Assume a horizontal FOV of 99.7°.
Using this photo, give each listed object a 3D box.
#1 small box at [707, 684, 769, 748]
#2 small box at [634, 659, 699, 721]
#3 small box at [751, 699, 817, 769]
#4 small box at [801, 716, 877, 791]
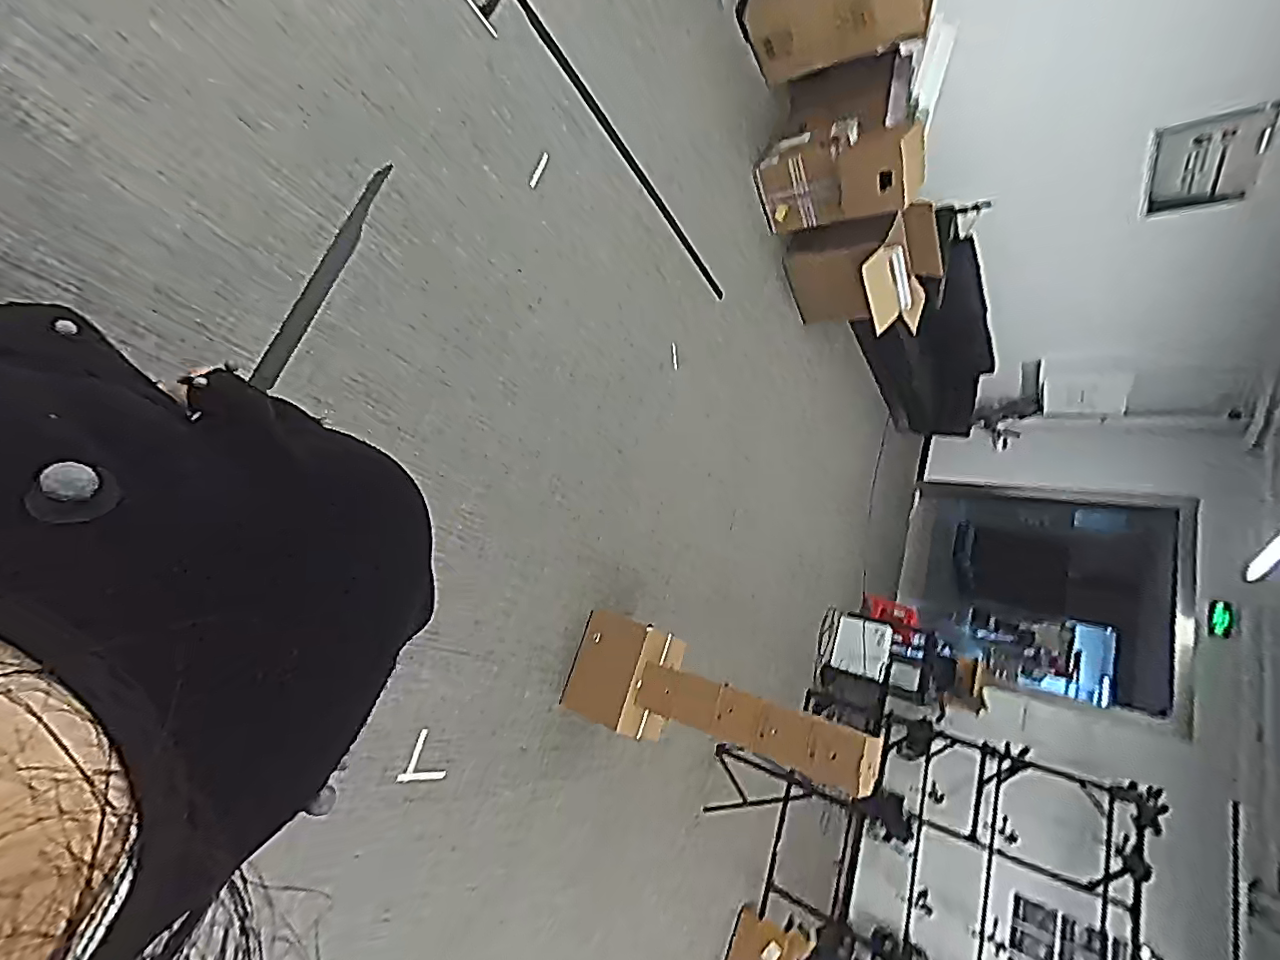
[{"bbox_3d":[0.363,0.829,1.896,0.179,0.176,0.168,35,67,-46],"label":"small box"},{"bbox_3d":[0.100,0.809,2.089,0.168,0.176,0.179,35,68,-47],"label":"small box"},{"bbox_3d":[0.493,0.841,1.796,0.179,0.176,0.168,34,68,-47],"label":"small box"},{"bbox_3d":[0.623,0.855,1.697,0.179,0.176,0.168,33,69,-47],"label":"small box"}]
